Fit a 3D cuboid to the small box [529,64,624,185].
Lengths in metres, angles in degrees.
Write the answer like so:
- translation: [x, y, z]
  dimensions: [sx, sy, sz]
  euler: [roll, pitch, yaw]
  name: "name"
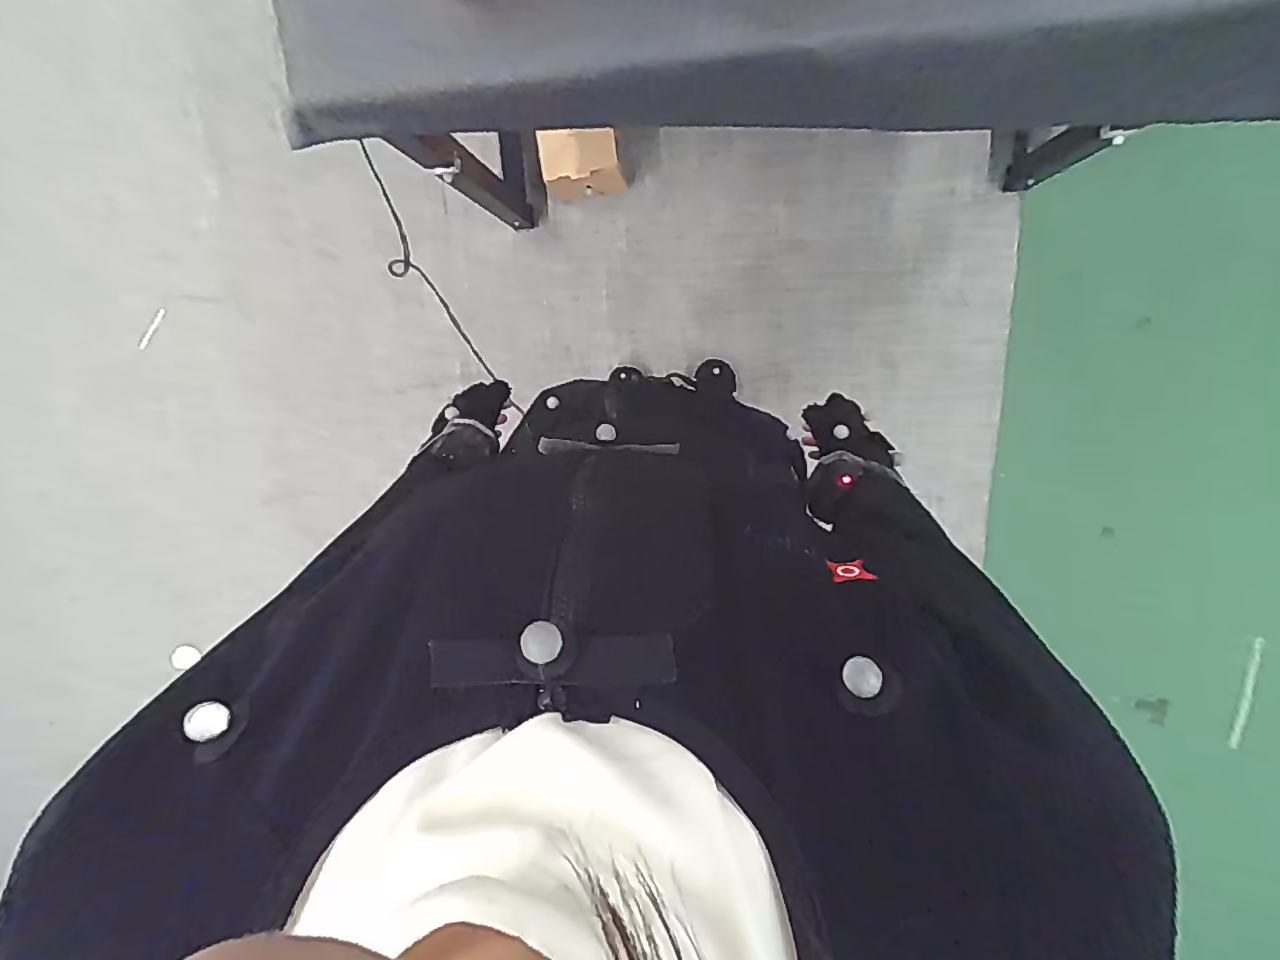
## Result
- translation: [-0.132, -0.773, 1.199]
  dimensions: [0.168, 0.176, 0.179]
  euler: [-6, 103, 7]
  name: "small box"
